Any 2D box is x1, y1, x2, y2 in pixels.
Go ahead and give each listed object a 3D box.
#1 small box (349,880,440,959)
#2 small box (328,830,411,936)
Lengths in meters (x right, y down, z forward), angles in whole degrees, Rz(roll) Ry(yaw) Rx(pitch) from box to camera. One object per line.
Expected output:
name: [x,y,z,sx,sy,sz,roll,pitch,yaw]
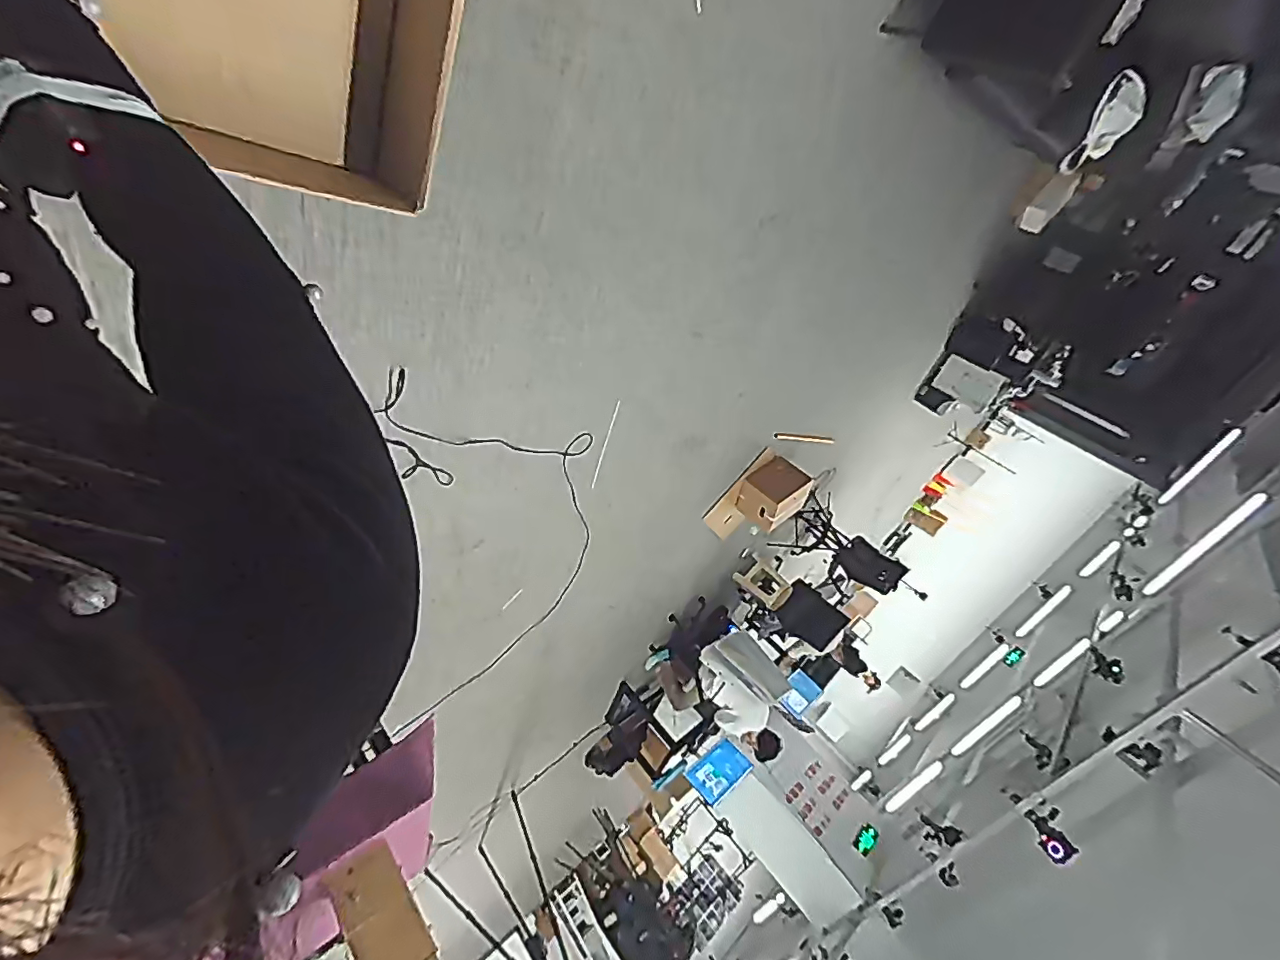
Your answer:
small box: [-0.667,1.248,1.478,0.179,0.176,0.168,-21,142,-38]
small box: [-0.776,1.152,1.551,0.168,0.176,0.179,-20,142,-40]
